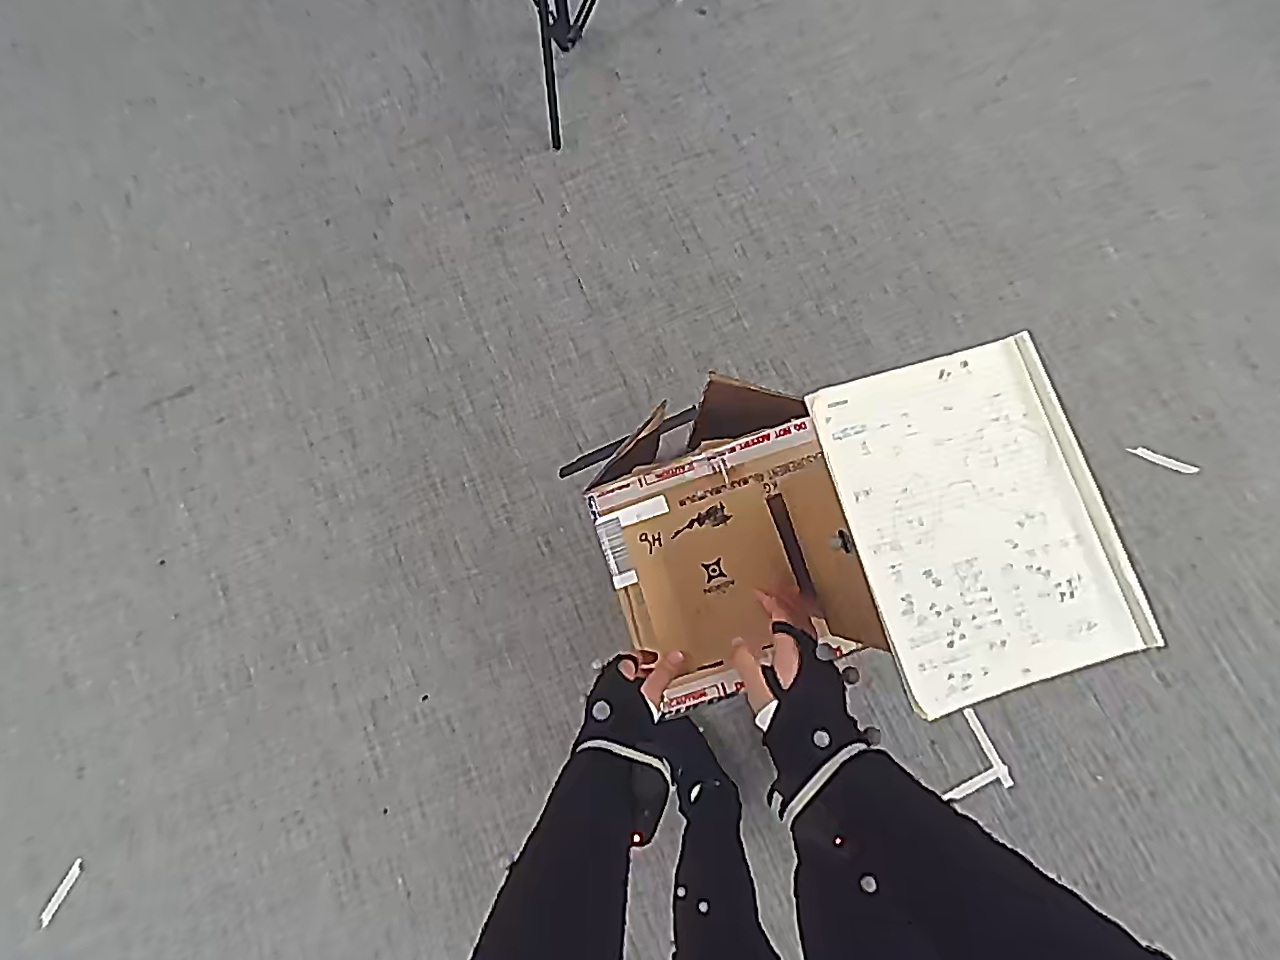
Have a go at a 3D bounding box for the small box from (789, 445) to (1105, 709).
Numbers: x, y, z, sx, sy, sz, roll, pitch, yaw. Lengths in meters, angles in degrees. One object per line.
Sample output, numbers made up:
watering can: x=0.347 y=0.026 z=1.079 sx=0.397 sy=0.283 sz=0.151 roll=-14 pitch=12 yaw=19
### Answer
small box: x=0.260 y=0.086 z=0.507 sx=0.168 sy=0.176 sz=0.179 roll=-16 pitch=82 yaw=-4
